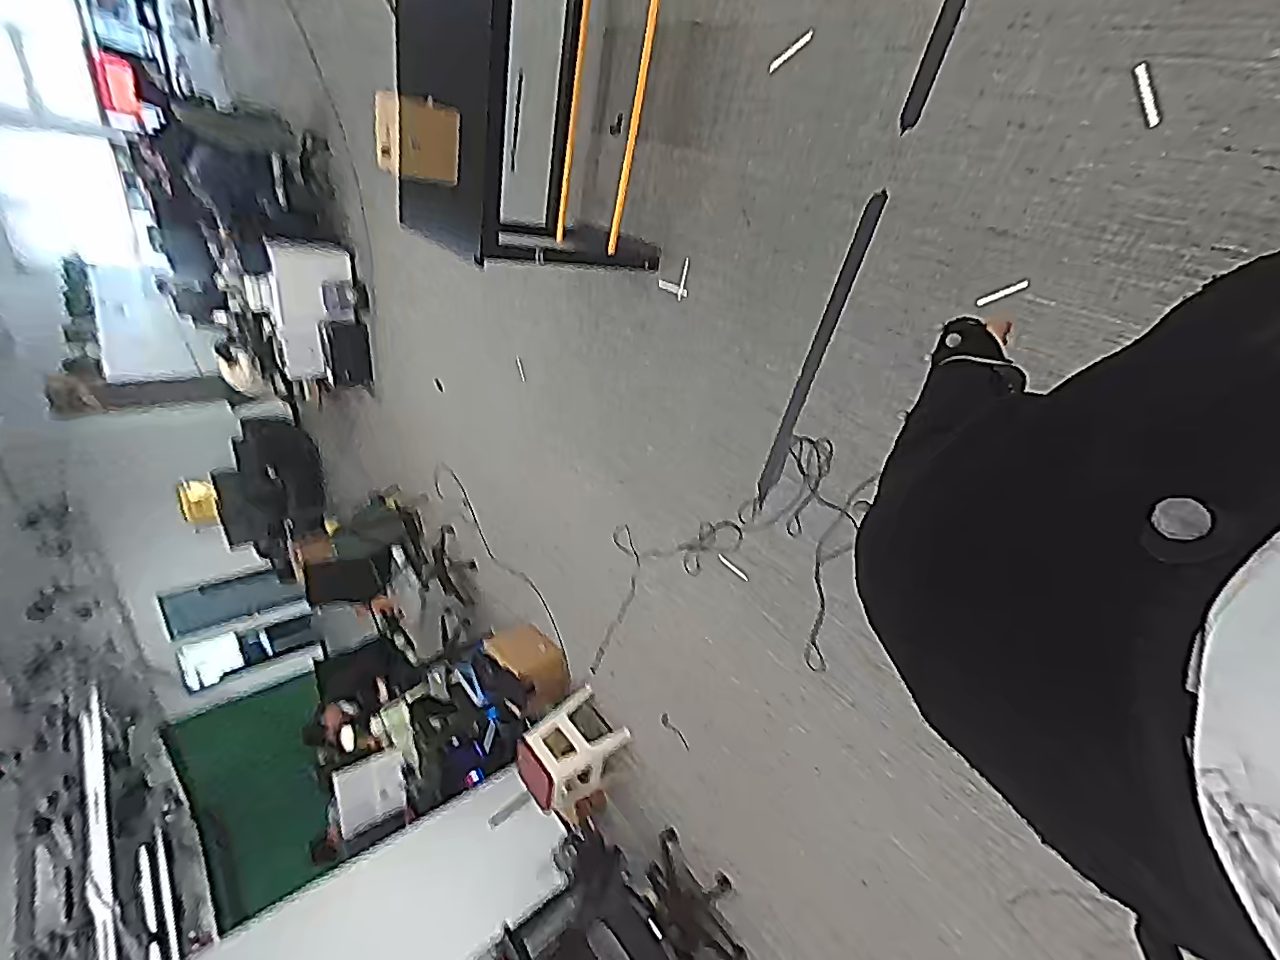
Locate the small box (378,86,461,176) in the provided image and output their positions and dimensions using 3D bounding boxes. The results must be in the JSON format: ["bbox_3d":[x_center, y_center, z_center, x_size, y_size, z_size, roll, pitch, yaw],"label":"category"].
[{"bbox_3d":[-0.615,-0.969,1.512,0.168,0.176,0.179,39,127,35],"label":"small box"}]
